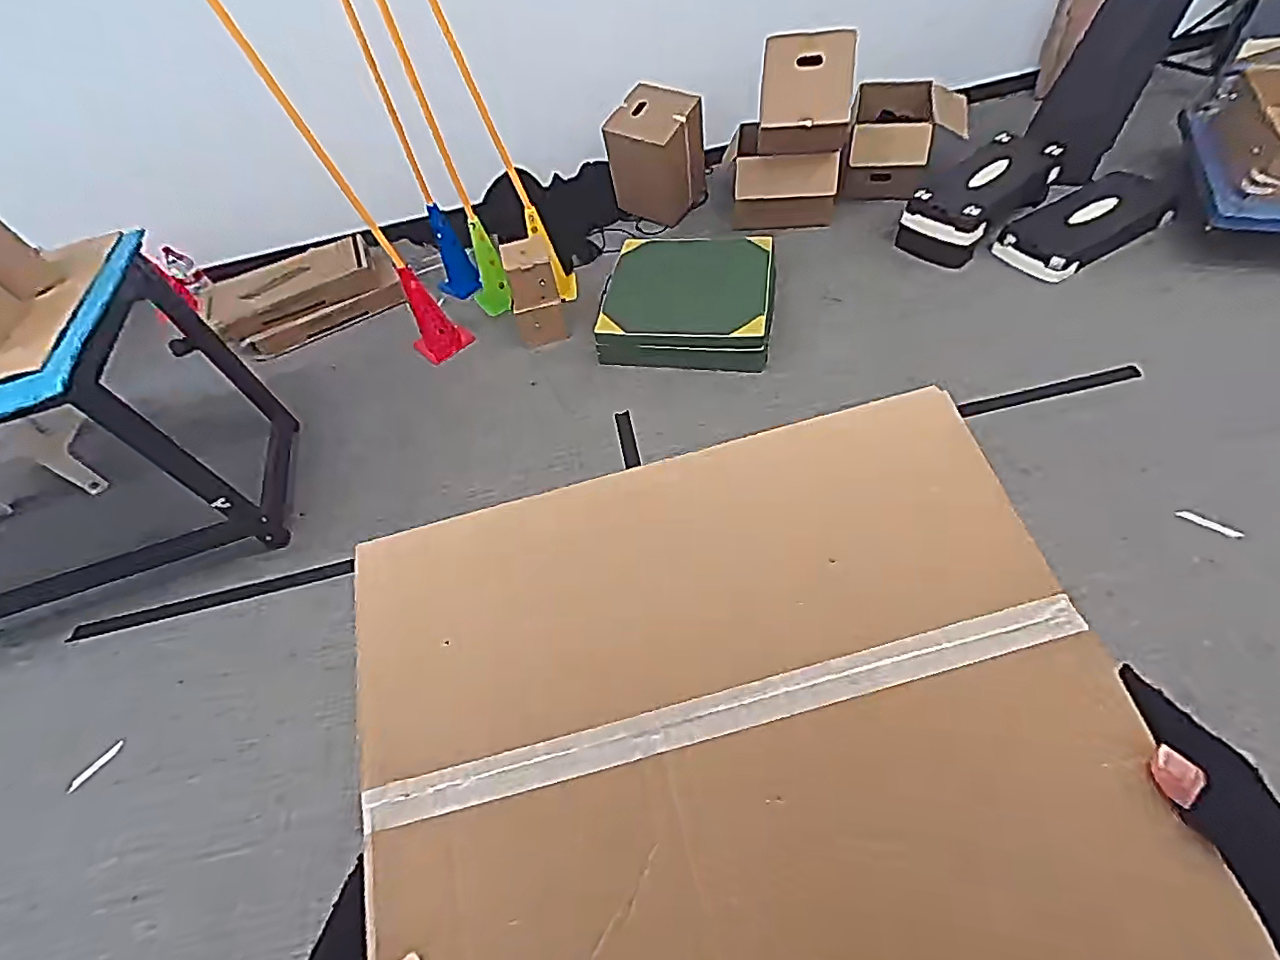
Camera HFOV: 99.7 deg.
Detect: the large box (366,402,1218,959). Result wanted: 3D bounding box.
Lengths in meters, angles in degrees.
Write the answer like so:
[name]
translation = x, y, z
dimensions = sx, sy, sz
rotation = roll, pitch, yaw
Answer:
[large box]
translation = 0.060, 0.191, 0.443
dimensions = 0.408, 0.320, 0.320
rotation = -16, 65, 0
